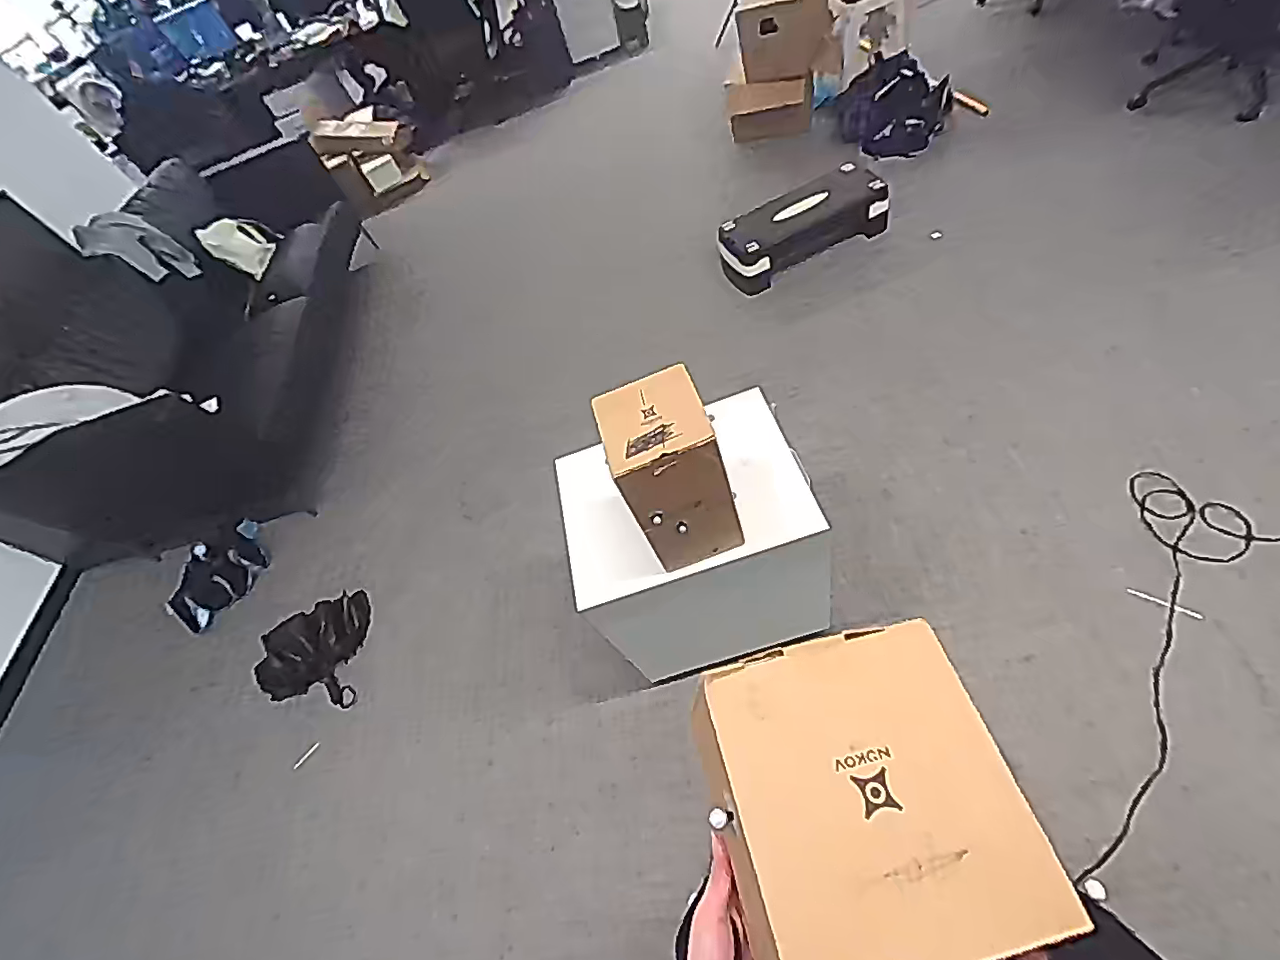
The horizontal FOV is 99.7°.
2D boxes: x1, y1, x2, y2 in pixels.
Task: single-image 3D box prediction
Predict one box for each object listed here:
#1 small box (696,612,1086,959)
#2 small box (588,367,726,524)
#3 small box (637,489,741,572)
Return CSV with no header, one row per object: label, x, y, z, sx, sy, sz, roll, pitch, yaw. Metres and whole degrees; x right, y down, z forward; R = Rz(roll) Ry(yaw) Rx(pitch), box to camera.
small box,0.143,0.221,0.392,0.168,0.176,0.179,-12,57,-5
small box,0.032,-0.048,0.901,0.168,0.176,0.179,-22,50,4
small box,0.079,0.045,1.029,0.168,0.176,0.179,-23,50,4
